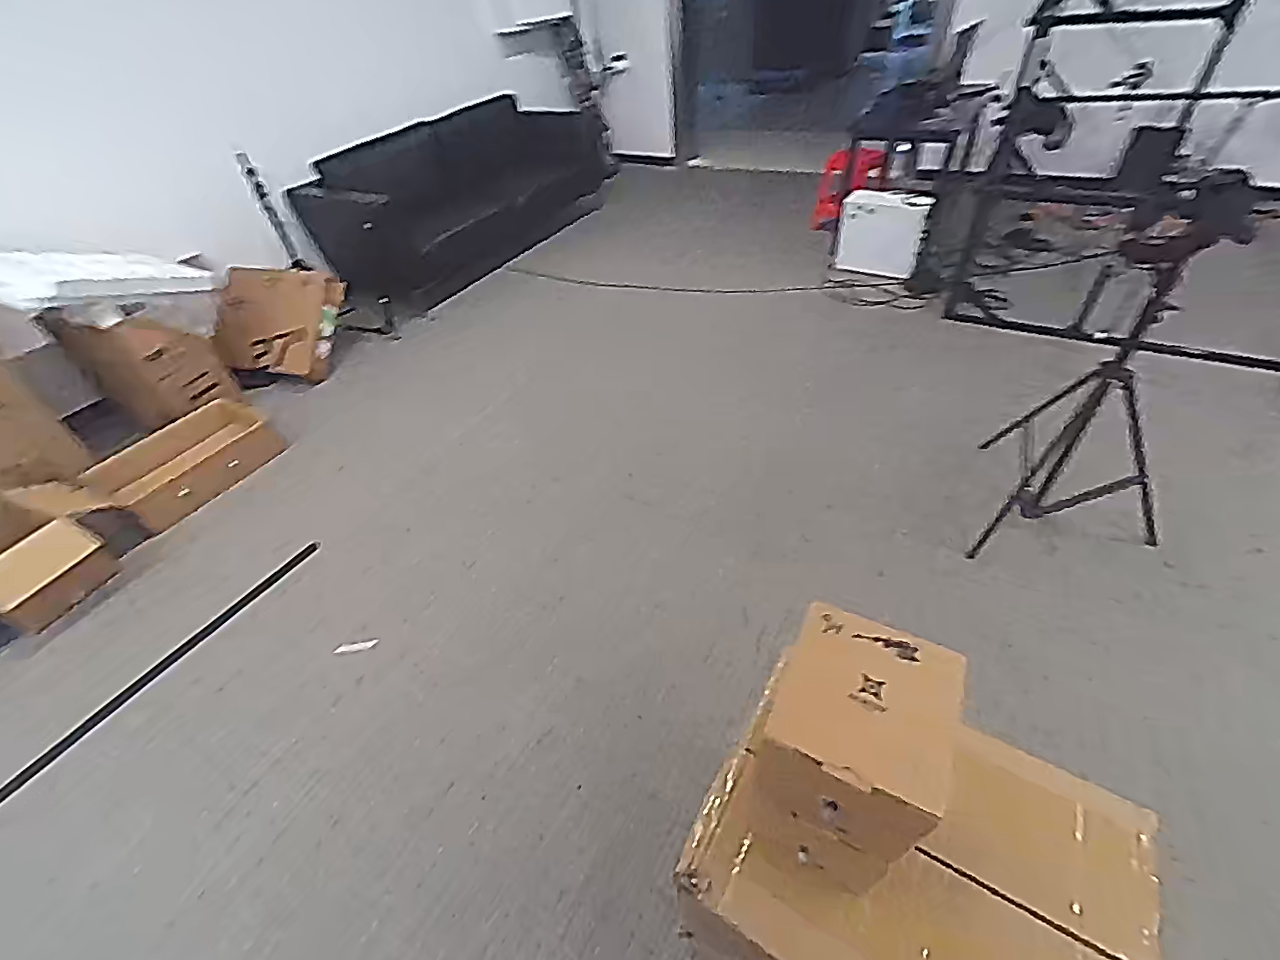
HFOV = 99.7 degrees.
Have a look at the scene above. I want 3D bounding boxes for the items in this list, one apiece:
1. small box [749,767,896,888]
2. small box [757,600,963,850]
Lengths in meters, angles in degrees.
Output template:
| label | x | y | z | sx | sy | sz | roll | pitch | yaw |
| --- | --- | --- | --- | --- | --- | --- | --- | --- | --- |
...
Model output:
| label | x | y | z | sx | sy | sz | roll | pitch | yaw |
| --- | --- | --- | --- | --- | --- | --- | --- | --- | --- |
| small box | 0.252 | 0.394 | 0.722 | 0.168 | 0.176 | 0.179 | 19 | 50 | 25 |
| small box | 0.238 | 0.275 | 0.610 | 0.168 | 0.176 | 0.179 | 18 | 50 | 24 |
